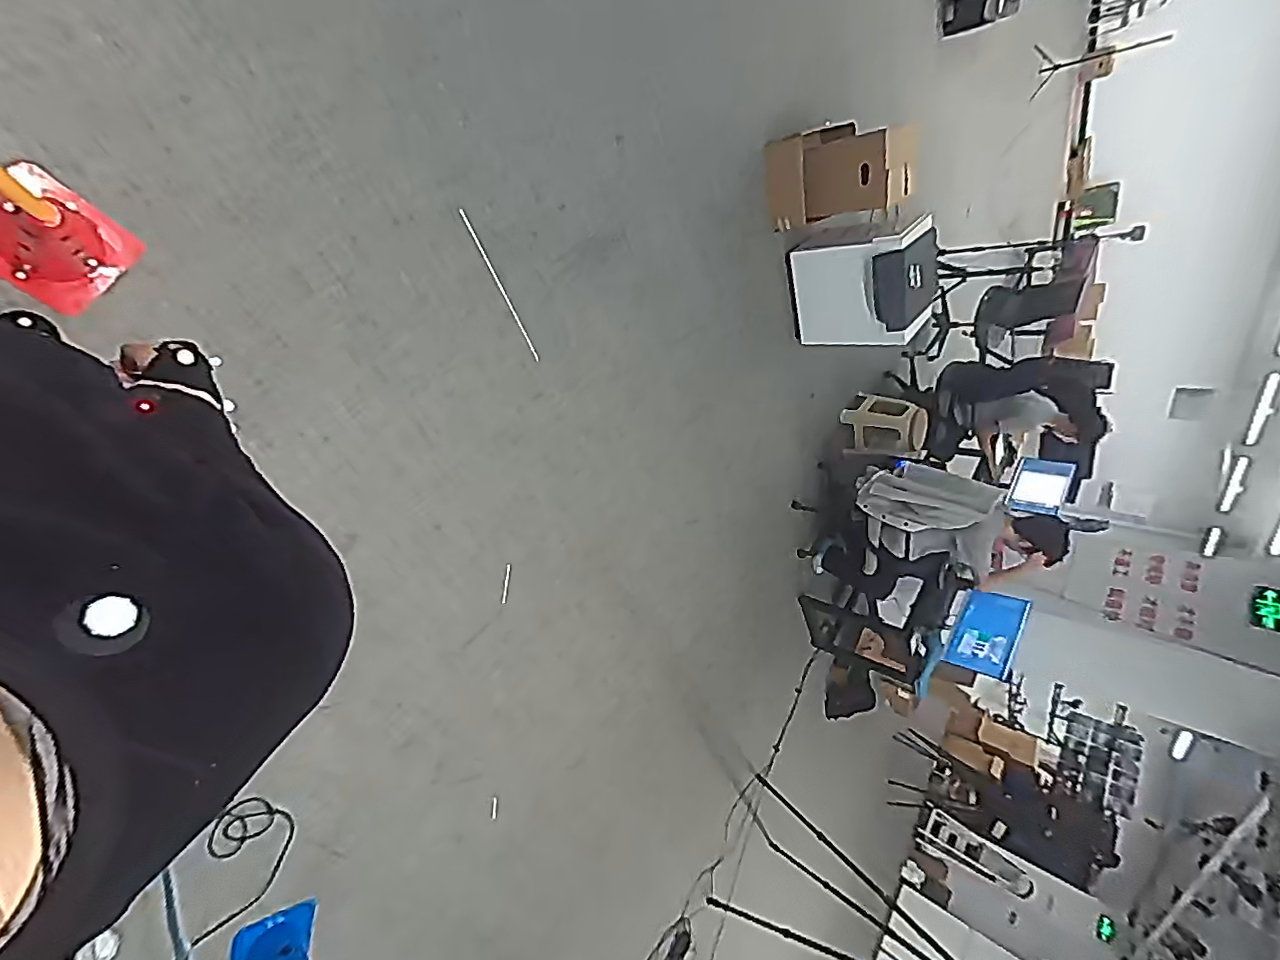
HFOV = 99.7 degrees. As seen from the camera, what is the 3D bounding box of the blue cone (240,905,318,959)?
[{"bbox_3d":[-0.883,1.334,1.404,0.193,0.380,0.192,4,96,-50],"label":"blue cone"}]
